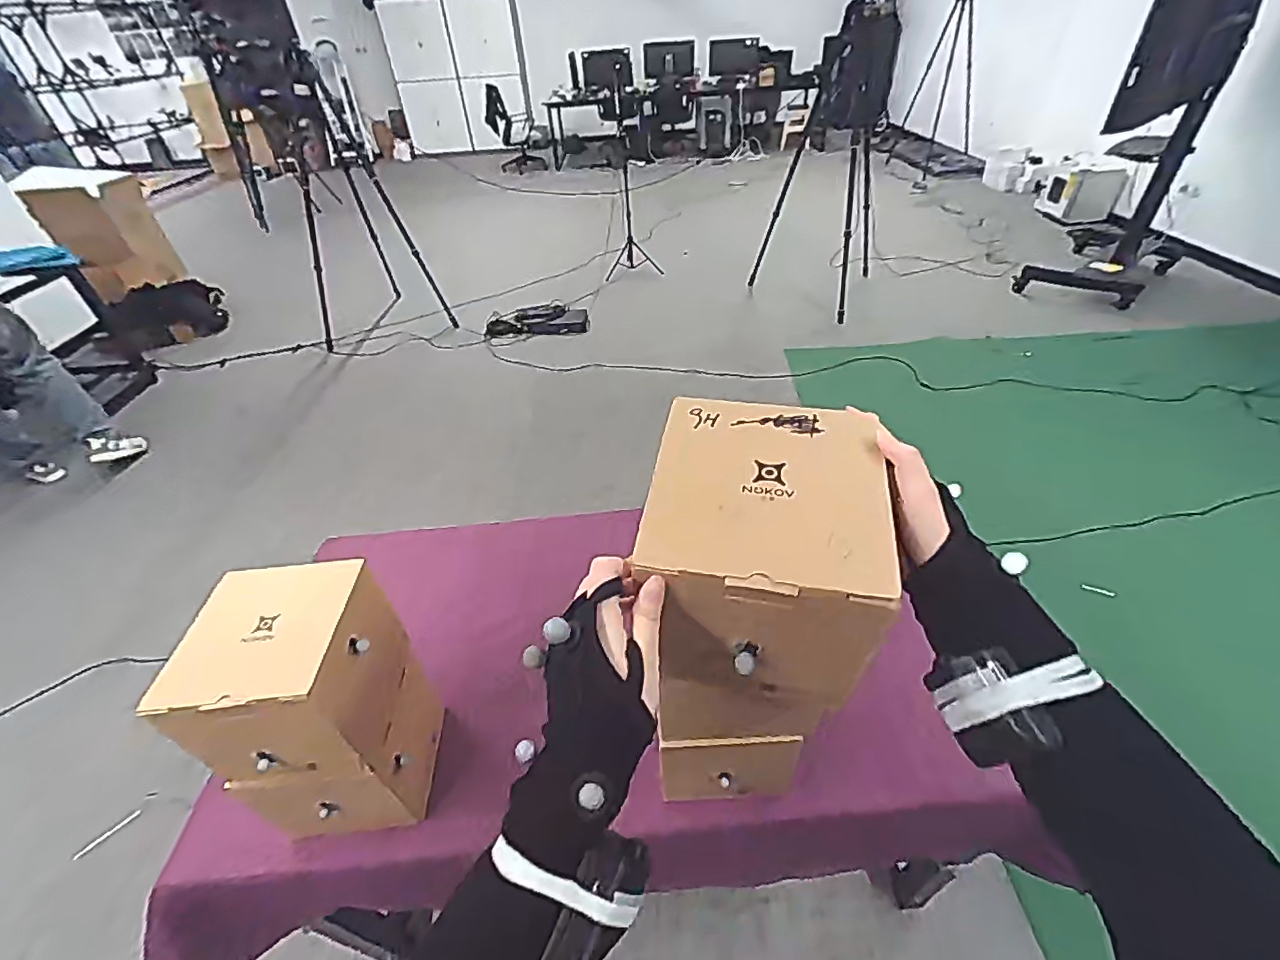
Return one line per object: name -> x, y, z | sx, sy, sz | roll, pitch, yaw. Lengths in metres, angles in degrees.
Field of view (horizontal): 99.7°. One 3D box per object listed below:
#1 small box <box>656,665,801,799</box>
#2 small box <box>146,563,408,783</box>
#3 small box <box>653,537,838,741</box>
small box -> 0.108, 0.312, 0.729 | 0.168, 0.176, 0.179 | -3, 40, 1
small box -> -0.389, 0.221, 0.626 | 0.168, 0.176, 0.179 | -5, 41, -1
small box -> 0.107, 0.184, 0.624 | 0.179, 0.176, 0.168 | -2, 41, 1
